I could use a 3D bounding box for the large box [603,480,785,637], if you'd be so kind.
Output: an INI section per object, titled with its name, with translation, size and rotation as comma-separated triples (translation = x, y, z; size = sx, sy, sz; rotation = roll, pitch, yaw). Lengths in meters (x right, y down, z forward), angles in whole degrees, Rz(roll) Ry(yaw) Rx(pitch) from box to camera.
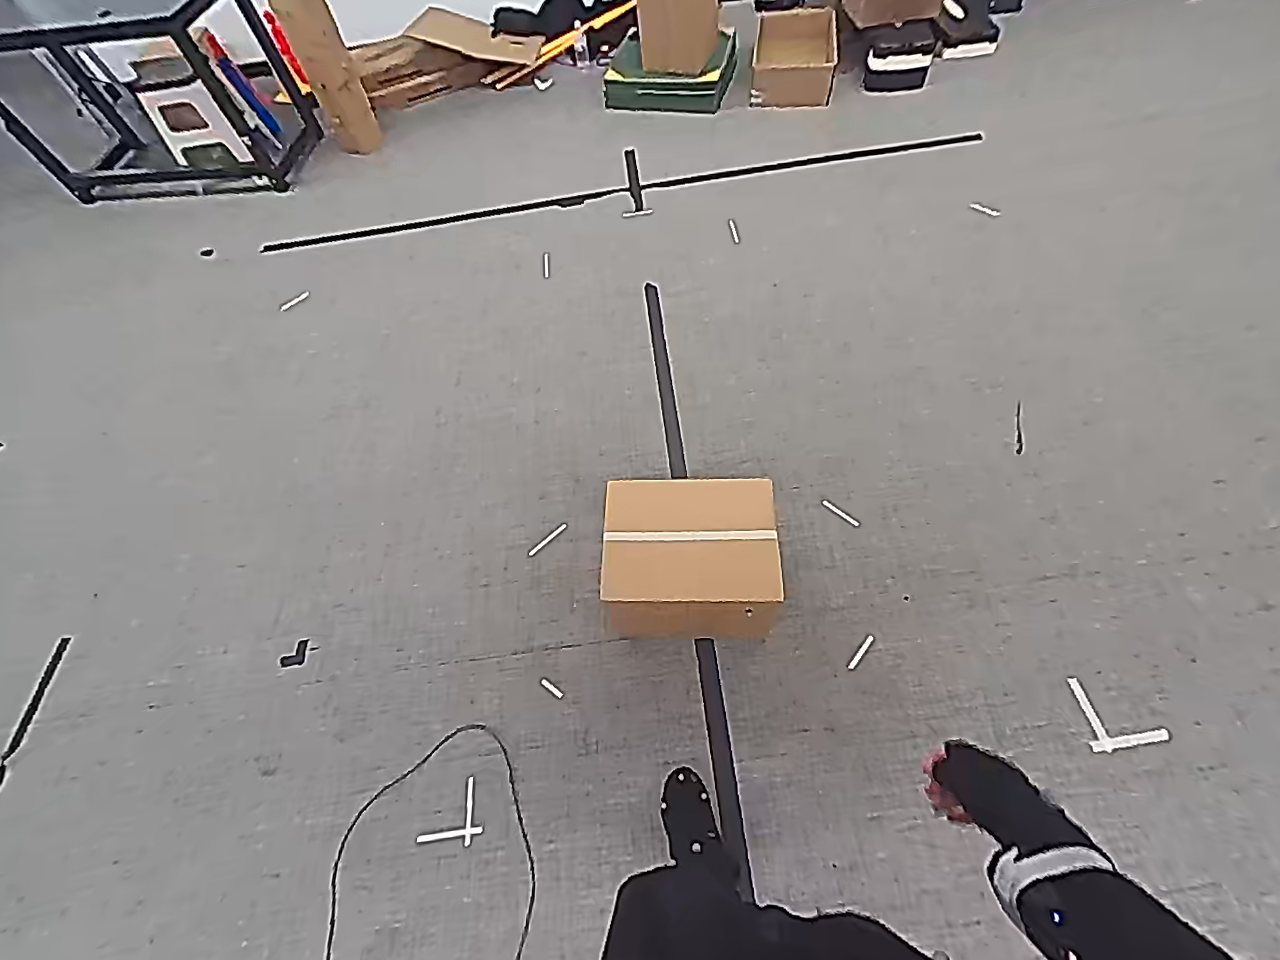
[large box]
translation = 0.131, 0.211, 1.381
size = 0.408, 0.320, 0.320
rotation = -1, 59, 4
